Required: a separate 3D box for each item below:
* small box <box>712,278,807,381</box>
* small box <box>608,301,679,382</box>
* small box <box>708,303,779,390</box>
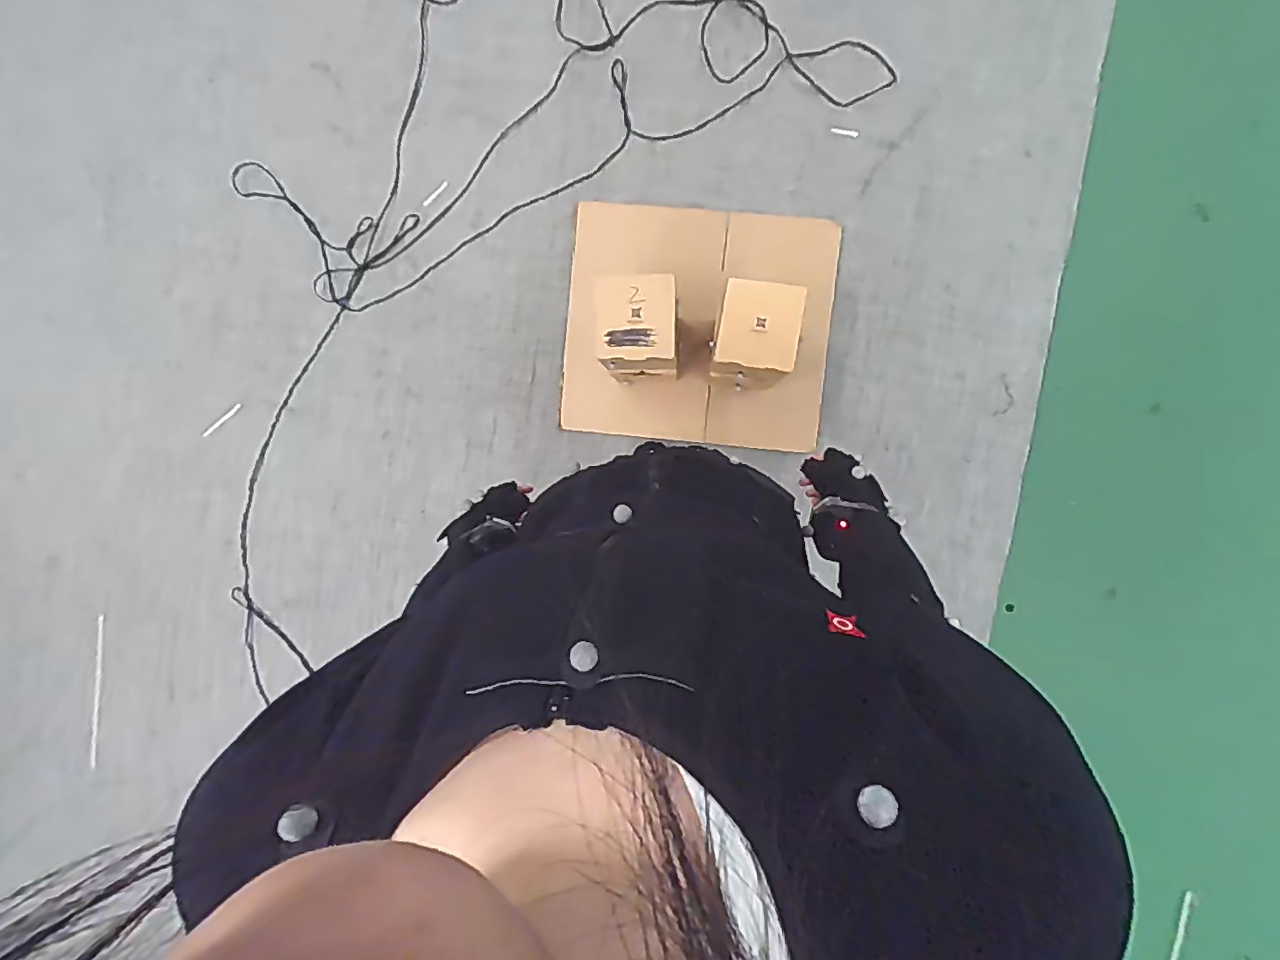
[{"bbox_3d":[0.253,-0.323,1.189,0.168,0.176,0.179,9,95,4],"label":"small box"},{"bbox_3d":[0.013,-0.342,1.365,0.168,0.176,0.179,2,94,4],"label":"small box"},{"bbox_3d":[0.263,-0.327,1.352,0.168,0.176,0.179,6,94,5],"label":"small box"}]
